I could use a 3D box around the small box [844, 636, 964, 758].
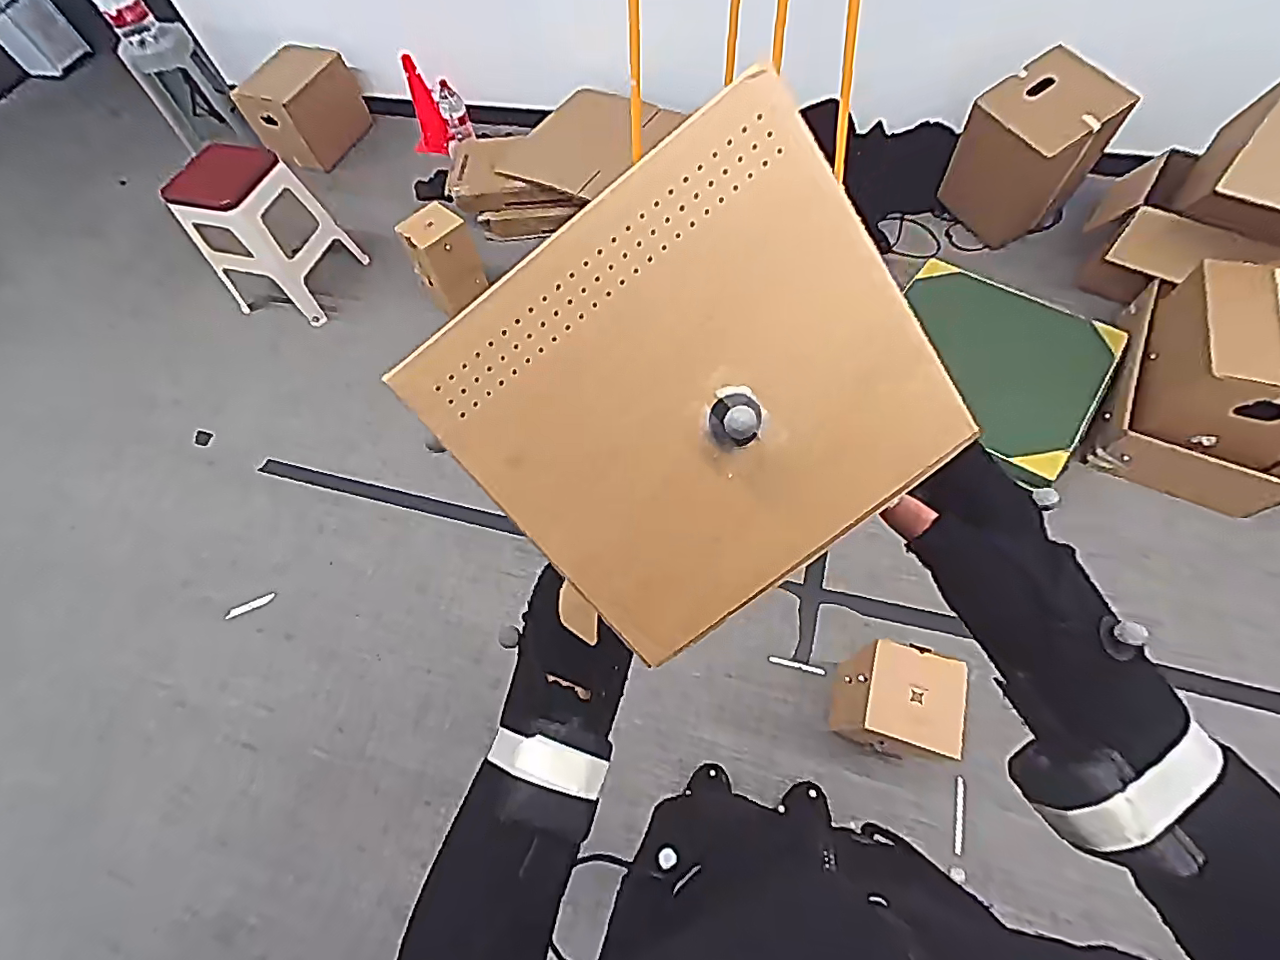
[{"bbox_3d":[0.523,0.437,1.087,0.168,0.176,0.179,15,66,14],"label":"small box"}]

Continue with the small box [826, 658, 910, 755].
[{"bbox_3d":[0.546,0.511,1.231,0.179,0.176,0.168,17,65,12],"label":"small box"}]

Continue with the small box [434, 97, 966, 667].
[{"bbox_3d":[0.015,-0.047,0.292,0.179,0.168,0.176,-39,106,6],"label":"small box"}]
